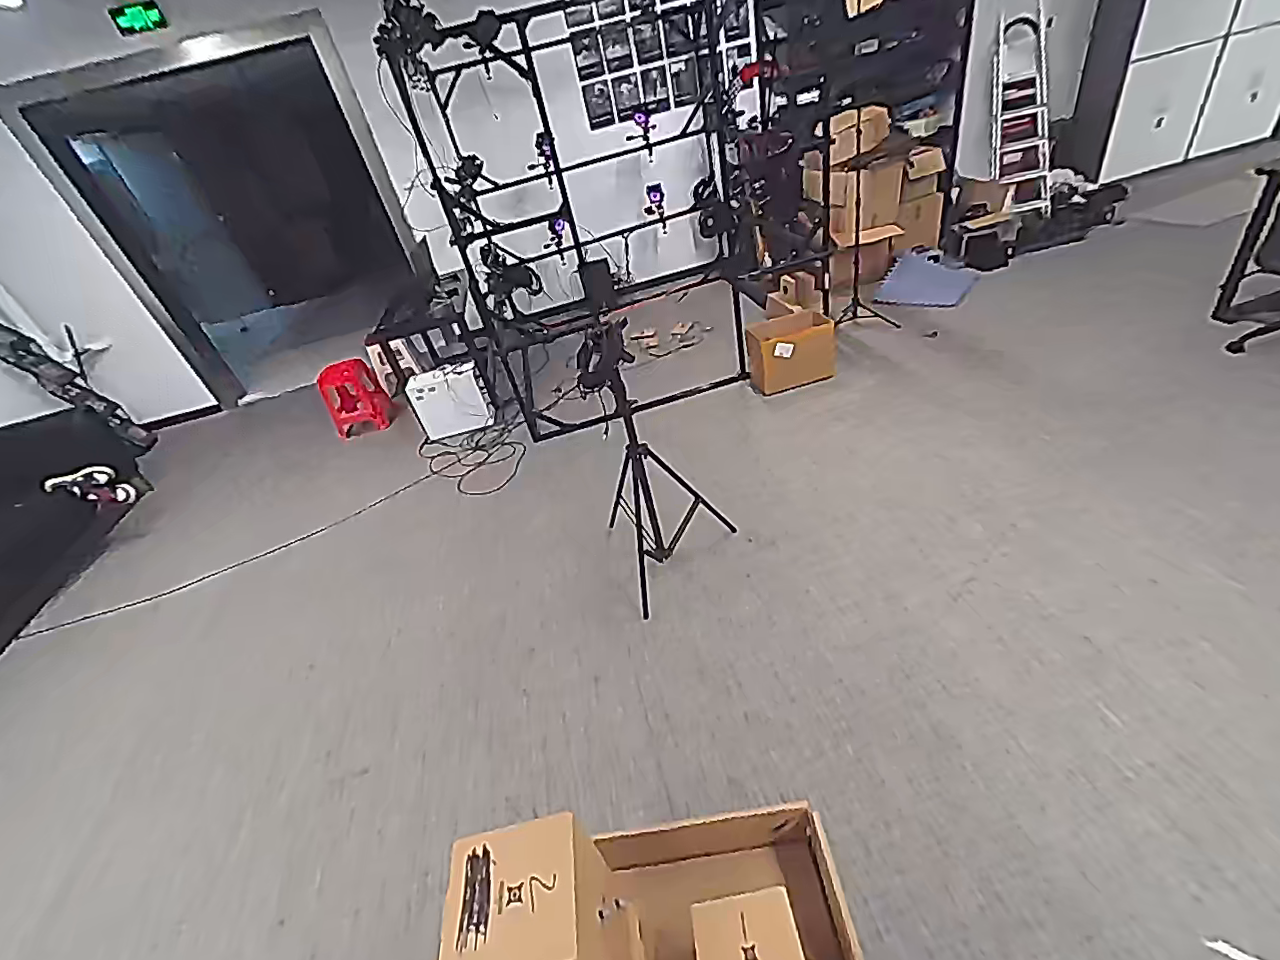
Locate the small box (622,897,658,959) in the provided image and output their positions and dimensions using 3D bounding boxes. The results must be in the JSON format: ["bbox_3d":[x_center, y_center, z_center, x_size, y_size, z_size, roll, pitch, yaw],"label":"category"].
[{"bbox_3d":[-0.066,0.845,0.911,0.179,0.176,0.168,-13,36,1],"label":"small box"}]

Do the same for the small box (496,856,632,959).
[{"bbox_3d":[-0.110,0.718,0.819,0.168,0.176,0.179,-16,35,0],"label":"small box"}]

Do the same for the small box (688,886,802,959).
[{"bbox_3d":[0.184,0.804,0.878,0.168,0.176,0.179,-13,35,2],"label":"small box"}]
